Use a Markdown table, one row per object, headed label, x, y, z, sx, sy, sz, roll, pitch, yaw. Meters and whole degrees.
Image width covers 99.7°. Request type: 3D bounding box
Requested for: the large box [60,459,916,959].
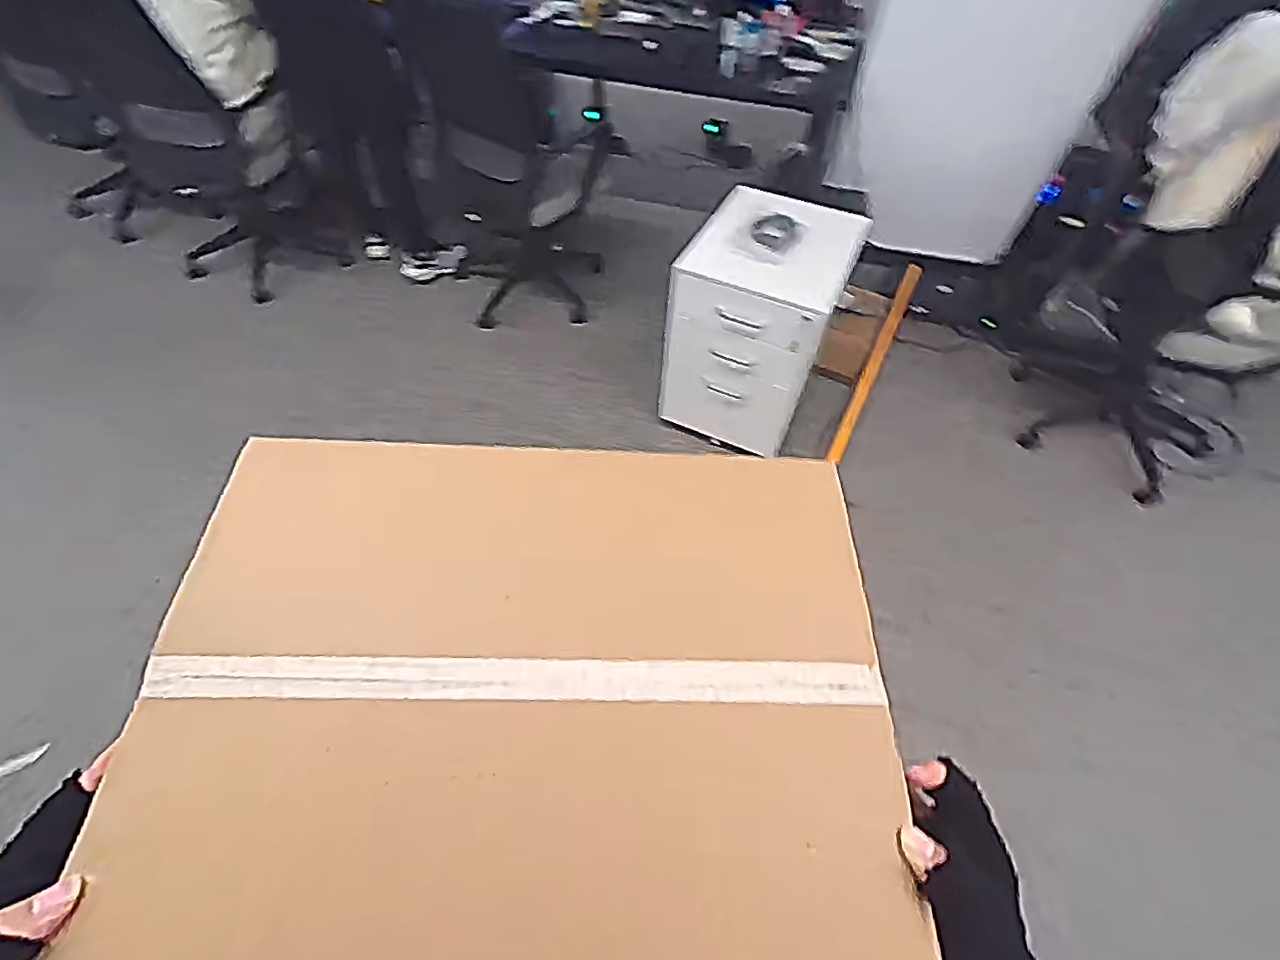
| label | x | y | z | sx | sy | sz | roll | pitch | yaw |
| --- | --- | --- | --- | --- | --- | --- | --- | --- | --- |
| large box | -0.078 | 0.194 | 0.444 | 0.408 | 0.320 | 0.320 | 1 | 61 | -4 |
